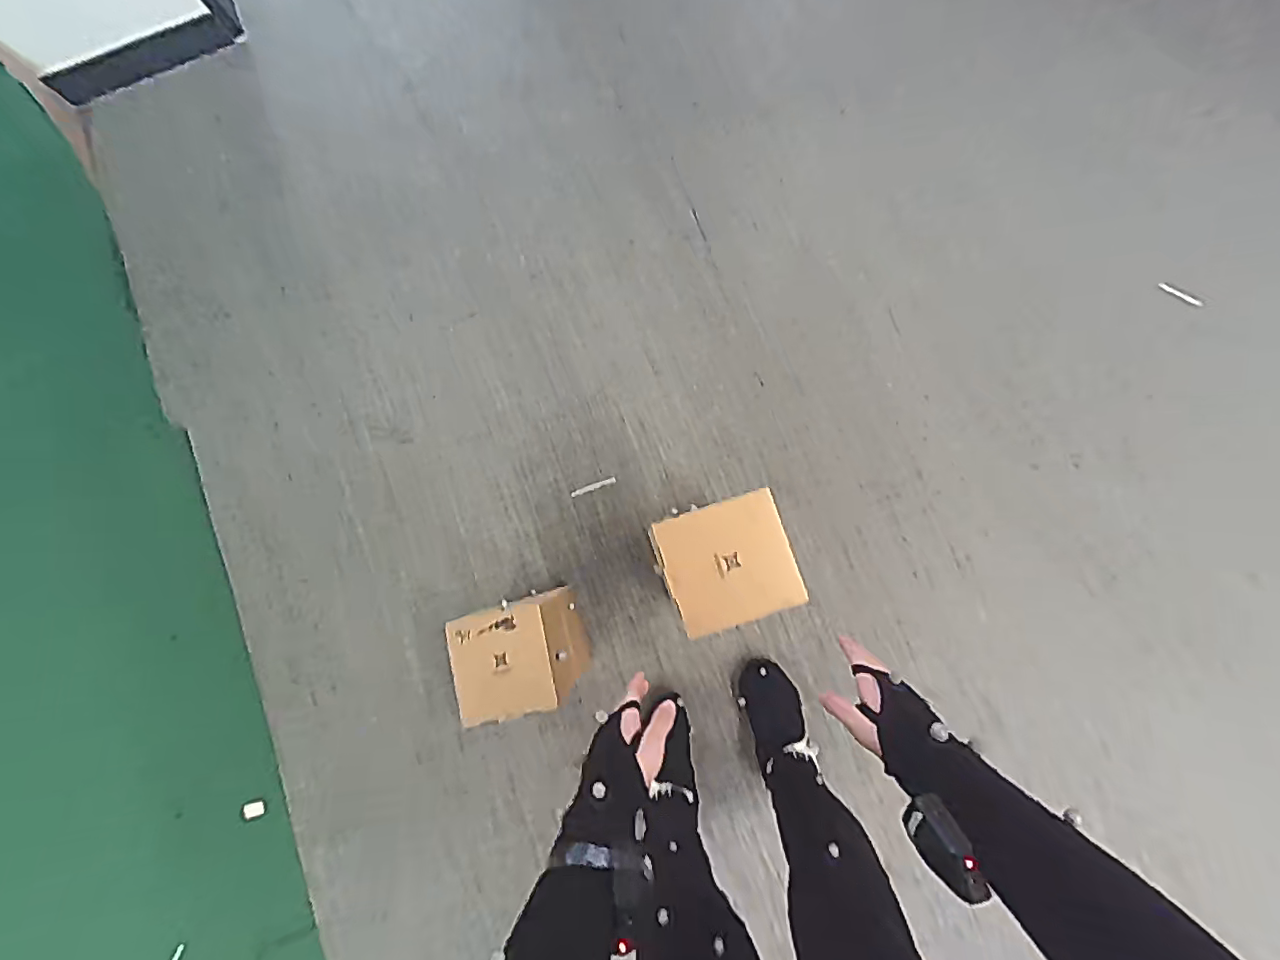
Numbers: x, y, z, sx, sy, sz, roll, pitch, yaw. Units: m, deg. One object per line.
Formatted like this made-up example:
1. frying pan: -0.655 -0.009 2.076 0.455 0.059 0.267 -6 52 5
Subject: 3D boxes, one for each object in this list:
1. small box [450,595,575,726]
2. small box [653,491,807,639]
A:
1. small box: -0.223 0.317 0.983 0.168 0.176 0.179 -12 83 1
2. small box: 0.126 0.123 0.824 0.179 0.176 0.168 -19 83 1
